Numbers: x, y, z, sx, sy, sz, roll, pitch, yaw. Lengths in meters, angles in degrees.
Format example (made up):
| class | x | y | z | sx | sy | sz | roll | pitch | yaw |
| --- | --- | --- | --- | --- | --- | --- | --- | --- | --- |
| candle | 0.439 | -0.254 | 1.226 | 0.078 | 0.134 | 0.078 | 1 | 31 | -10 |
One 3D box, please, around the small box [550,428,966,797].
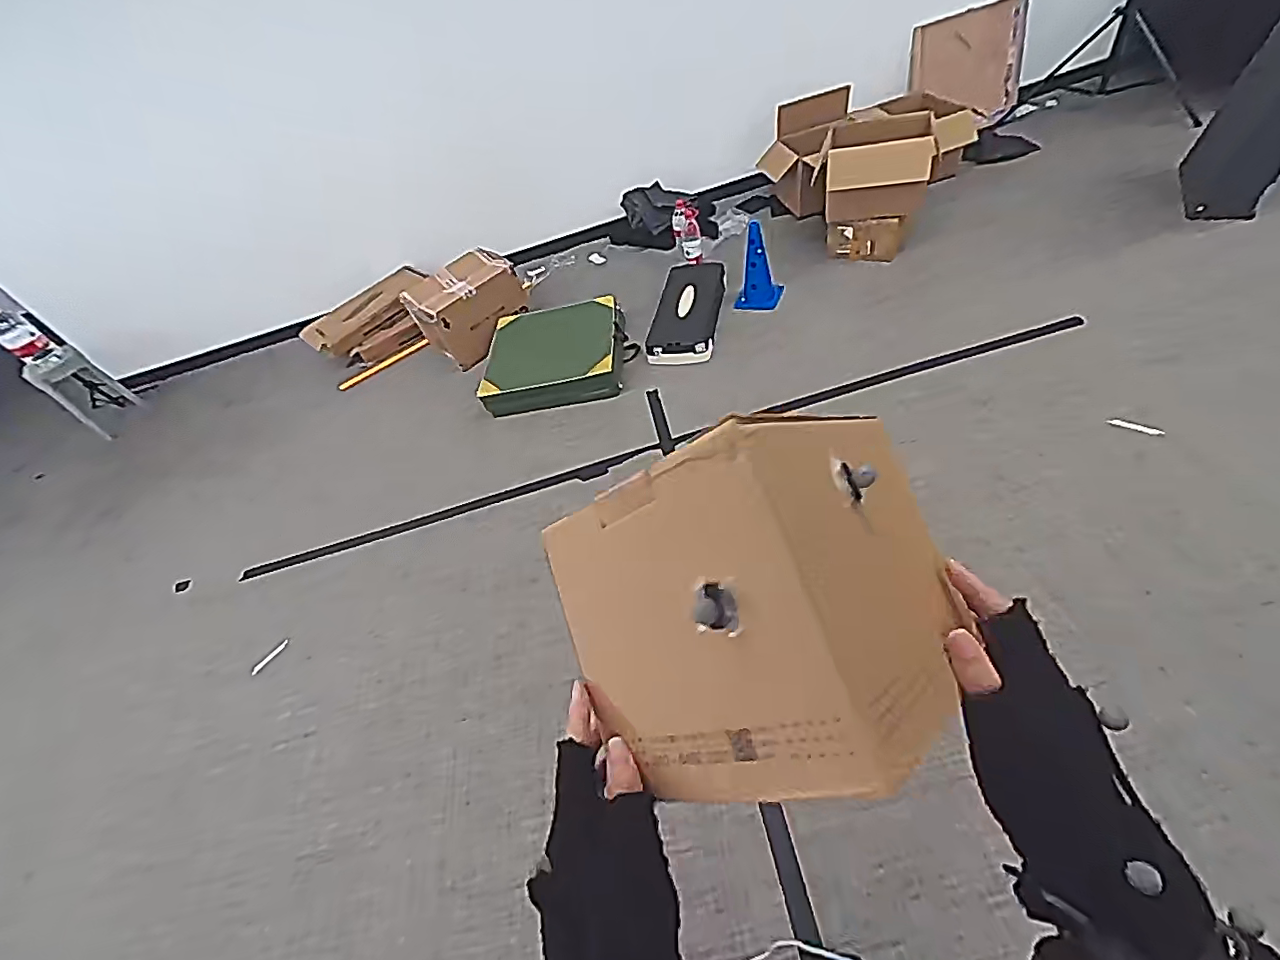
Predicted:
| class | x | y | z | sx | sy | sz | roll | pitch | yaw |
| --- | --- | --- | --- | --- | --- | --- | --- | --- | --- |
| small box | 0.075 | 0.081 | 0.350 | 0.179 | 0.168 | 0.176 | -7 | 73 | -44 |
